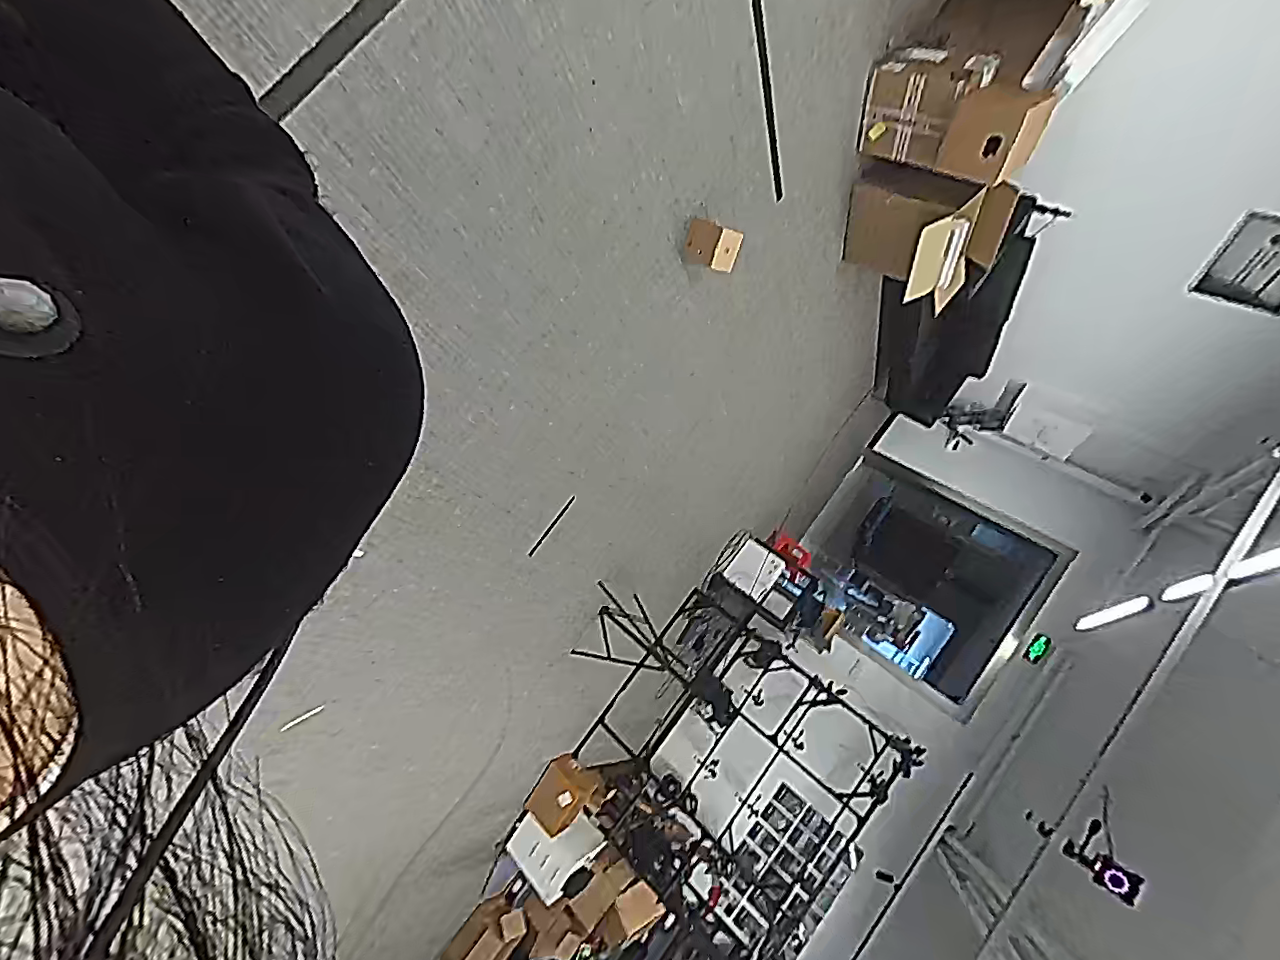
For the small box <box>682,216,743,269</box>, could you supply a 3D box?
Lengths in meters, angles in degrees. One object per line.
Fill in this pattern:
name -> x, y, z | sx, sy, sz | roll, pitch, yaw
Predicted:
small box -> 0.311, -1.035, 2.351 | 0.179, 0.176, 0.168 | -18, 135, -50
